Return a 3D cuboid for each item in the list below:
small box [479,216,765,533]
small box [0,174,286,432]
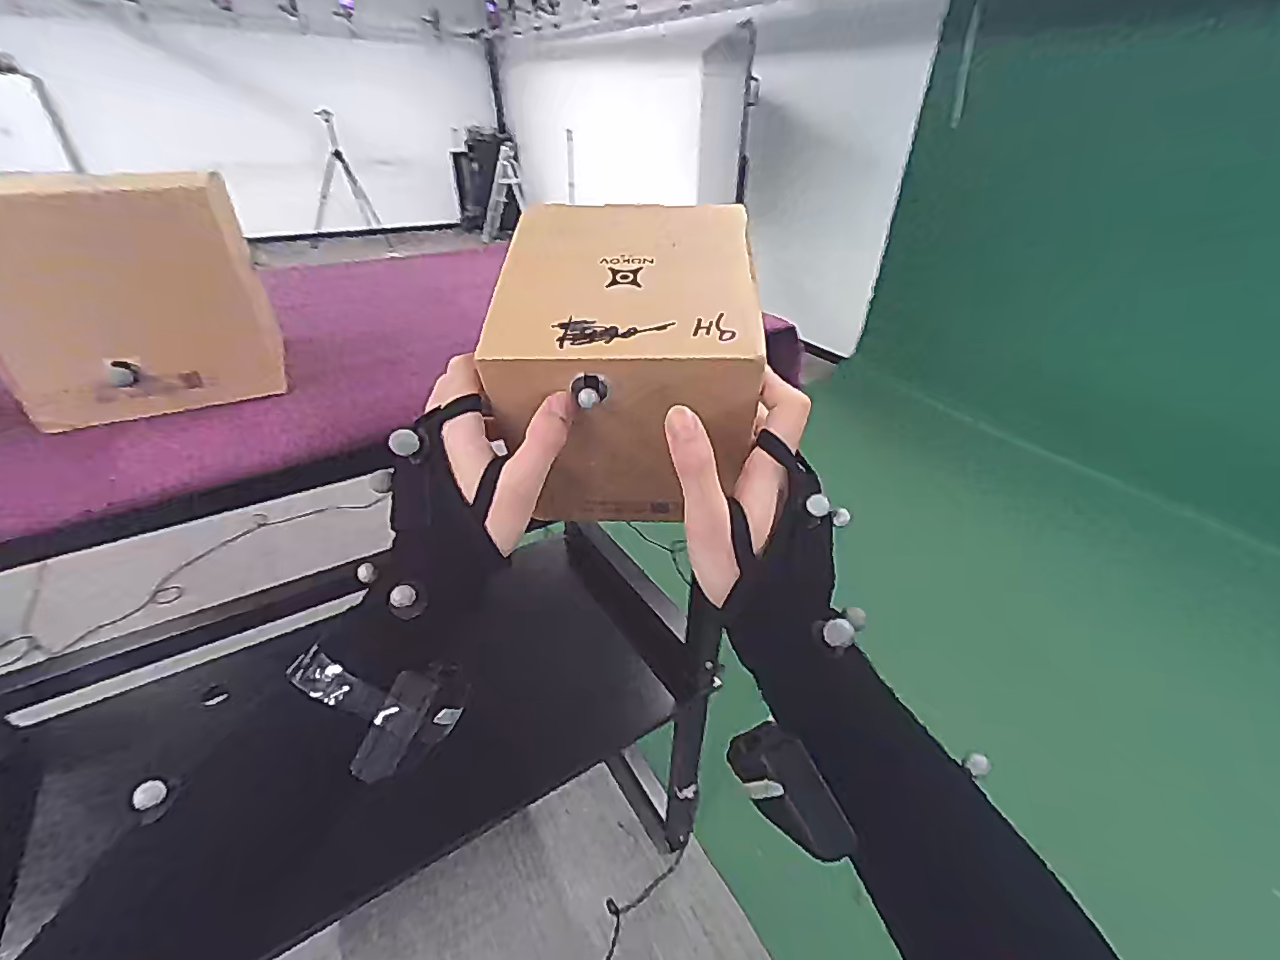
[{"bbox_3d":[-0.003,-0.079,0.415,0.168,0.176,0.179,1,53,5],"label":"small box"},{"bbox_3d":[-0.429,-0.161,0.468,0.168,0.176,0.179,-18,38,-24],"label":"small box"}]
